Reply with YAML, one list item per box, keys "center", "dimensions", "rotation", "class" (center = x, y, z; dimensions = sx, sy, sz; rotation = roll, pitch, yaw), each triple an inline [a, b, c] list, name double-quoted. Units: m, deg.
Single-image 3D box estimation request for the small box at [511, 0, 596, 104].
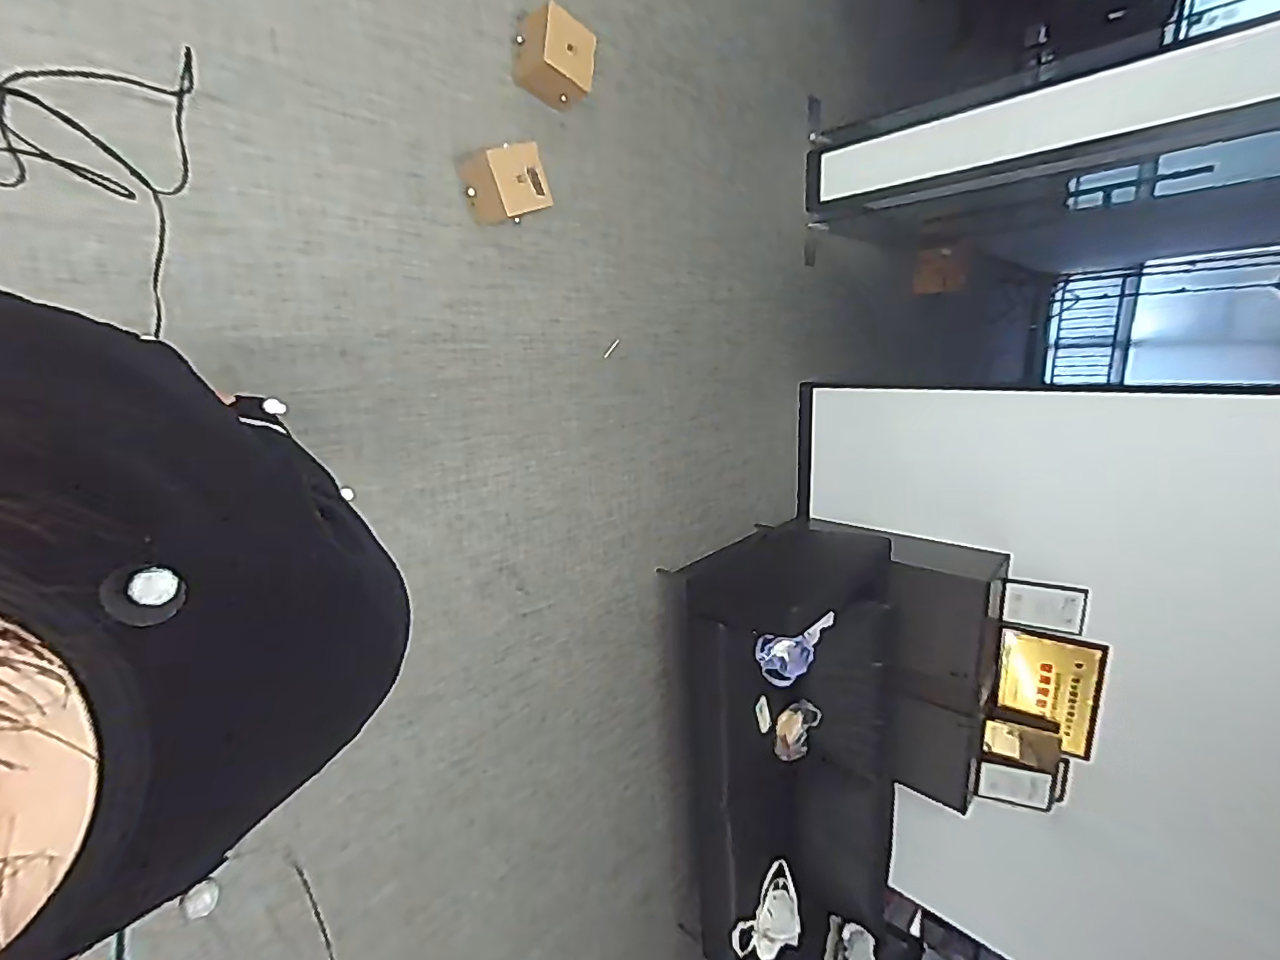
- center: [-0.259, -1.264, 1.614]
  dimensions: [0.179, 0.176, 0.168]
  rotation: [2, 96, -47]
  class: "small box"
